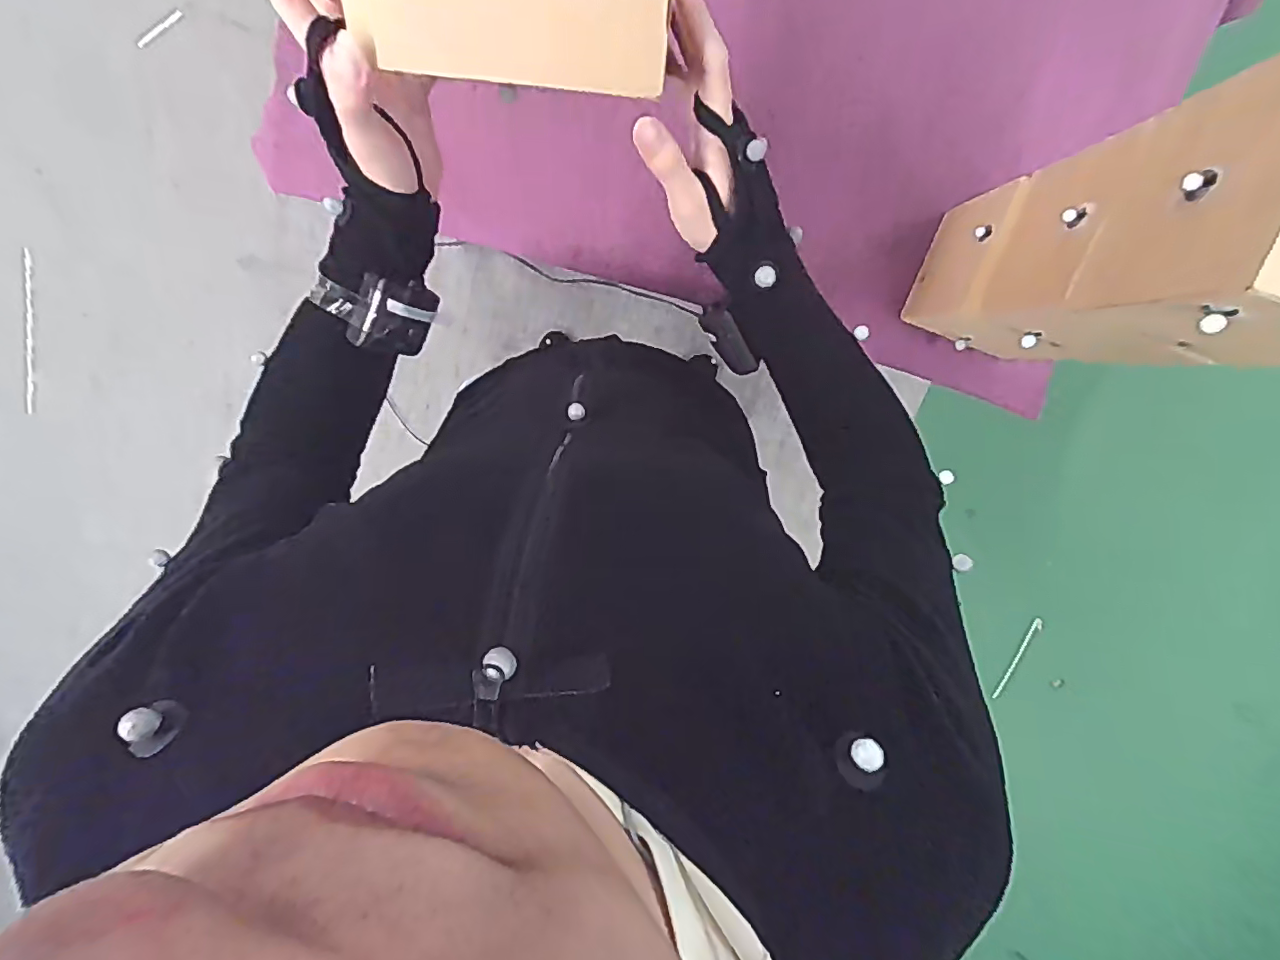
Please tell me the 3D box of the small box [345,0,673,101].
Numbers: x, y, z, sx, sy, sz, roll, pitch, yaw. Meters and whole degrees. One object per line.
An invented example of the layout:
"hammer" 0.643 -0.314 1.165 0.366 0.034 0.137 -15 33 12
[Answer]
"small box" -0.063 -0.340 0.316 0.179 0.176 0.168 5 132 -3

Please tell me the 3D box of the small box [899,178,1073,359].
"small box" 0.499 -0.276 0.740 0.179 0.176 0.168 19 103 -5

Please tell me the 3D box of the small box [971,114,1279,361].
"small box" 0.503 -0.239 0.581 0.168 0.176 0.179 19 103 -3
